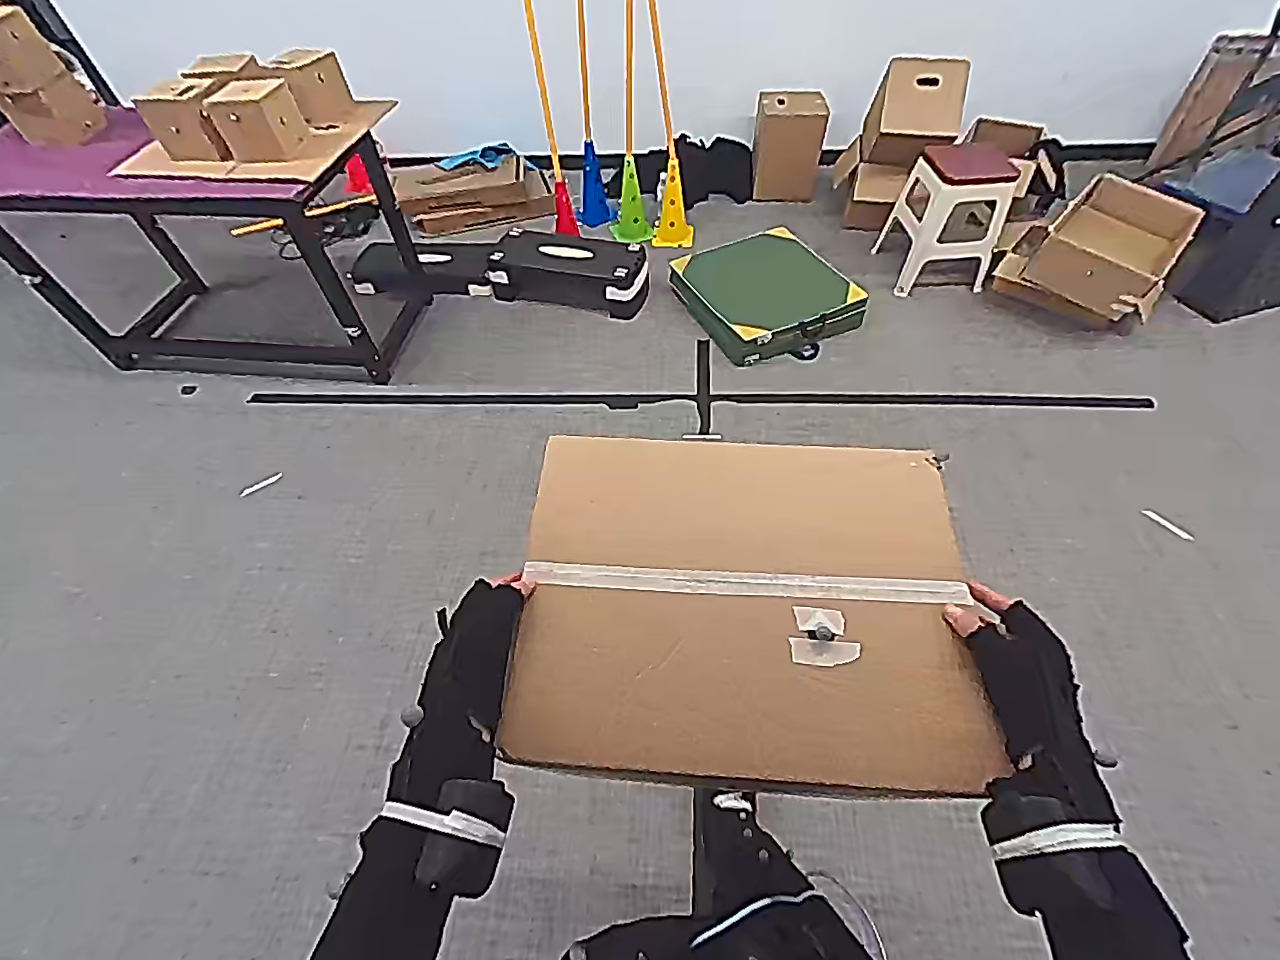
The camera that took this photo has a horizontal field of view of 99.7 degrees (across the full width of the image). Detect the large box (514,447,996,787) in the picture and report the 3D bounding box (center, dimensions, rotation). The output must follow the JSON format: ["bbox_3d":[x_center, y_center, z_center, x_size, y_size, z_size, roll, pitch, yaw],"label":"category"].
[{"bbox_3d":[0.100,0.176,0.645,0.408,0.320,0.320,3,60,3],"label":"large box"}]
